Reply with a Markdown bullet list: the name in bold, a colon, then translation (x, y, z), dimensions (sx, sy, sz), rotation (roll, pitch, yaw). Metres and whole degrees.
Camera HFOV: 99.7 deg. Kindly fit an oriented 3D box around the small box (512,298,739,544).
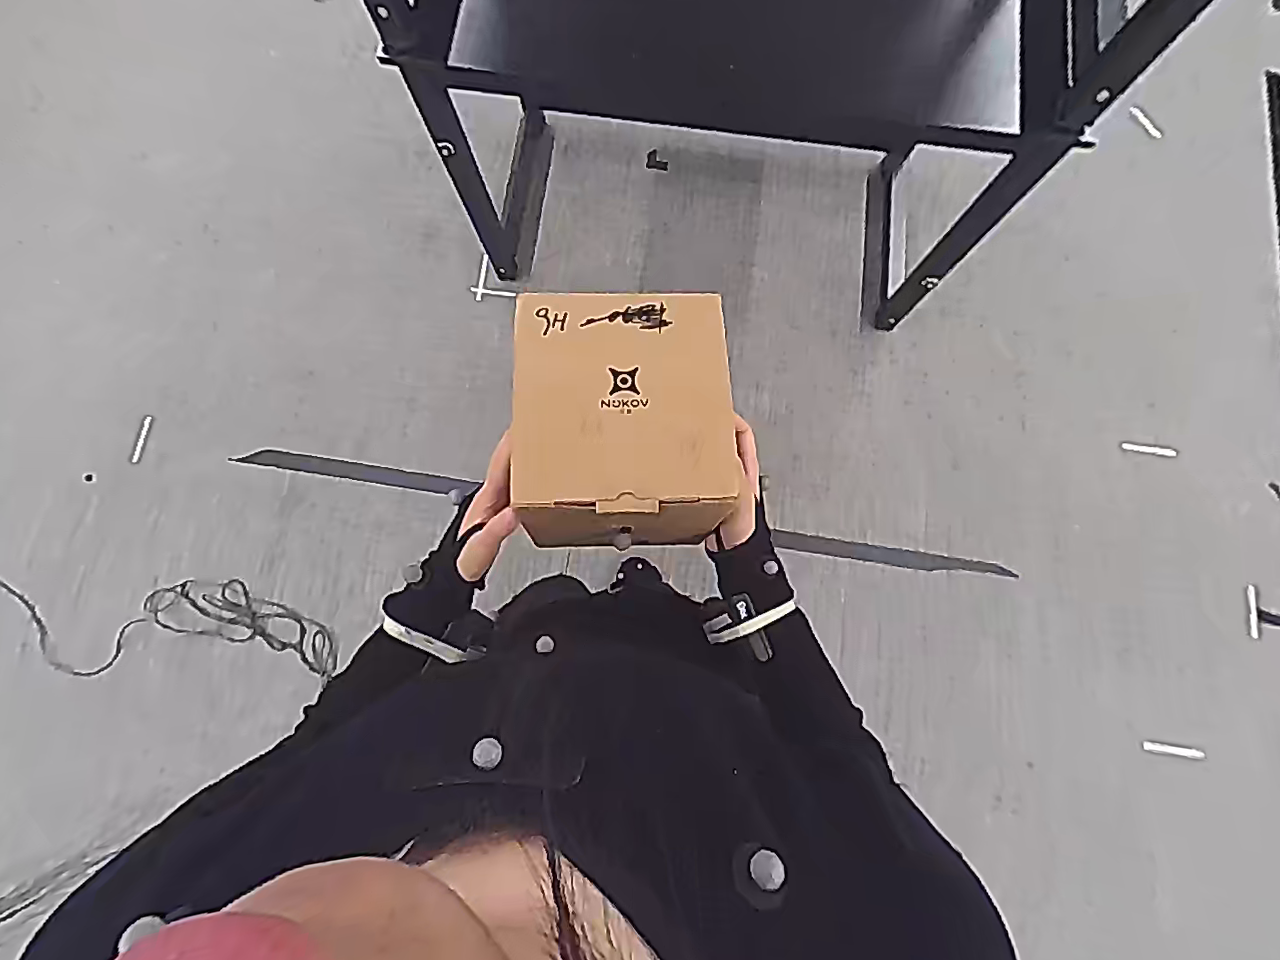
- **small box**: translation (-0.015, -0.039, 0.482), dimensions (0.168, 0.176, 0.179), rotation (-1, 74, -4)
